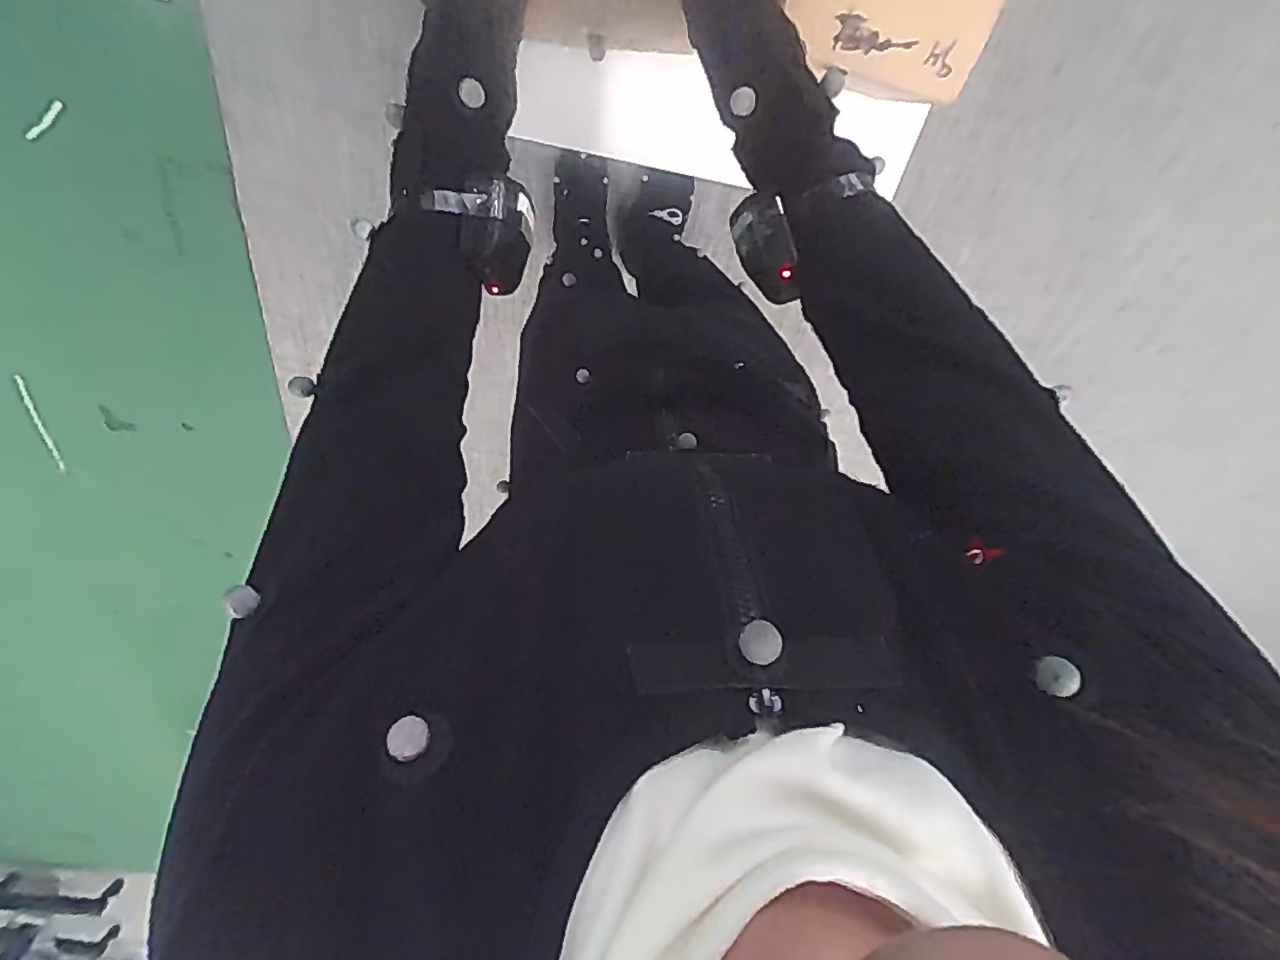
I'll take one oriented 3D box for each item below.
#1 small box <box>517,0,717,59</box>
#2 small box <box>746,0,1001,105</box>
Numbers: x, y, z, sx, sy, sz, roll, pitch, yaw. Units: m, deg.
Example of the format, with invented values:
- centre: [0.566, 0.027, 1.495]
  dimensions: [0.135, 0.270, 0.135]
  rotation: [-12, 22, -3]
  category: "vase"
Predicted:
- centre: [-0.021, -0.462, 0.415]
  dimensions: [0.168, 0.176, 0.179]
  rotation: [0, 112, -2]
  category: "small box"
- centre: [0.203, -0.447, 0.459]
  dimensions: [0.168, 0.176, 0.179]
  rotation: [12, 125, -9]
  category: "small box"
